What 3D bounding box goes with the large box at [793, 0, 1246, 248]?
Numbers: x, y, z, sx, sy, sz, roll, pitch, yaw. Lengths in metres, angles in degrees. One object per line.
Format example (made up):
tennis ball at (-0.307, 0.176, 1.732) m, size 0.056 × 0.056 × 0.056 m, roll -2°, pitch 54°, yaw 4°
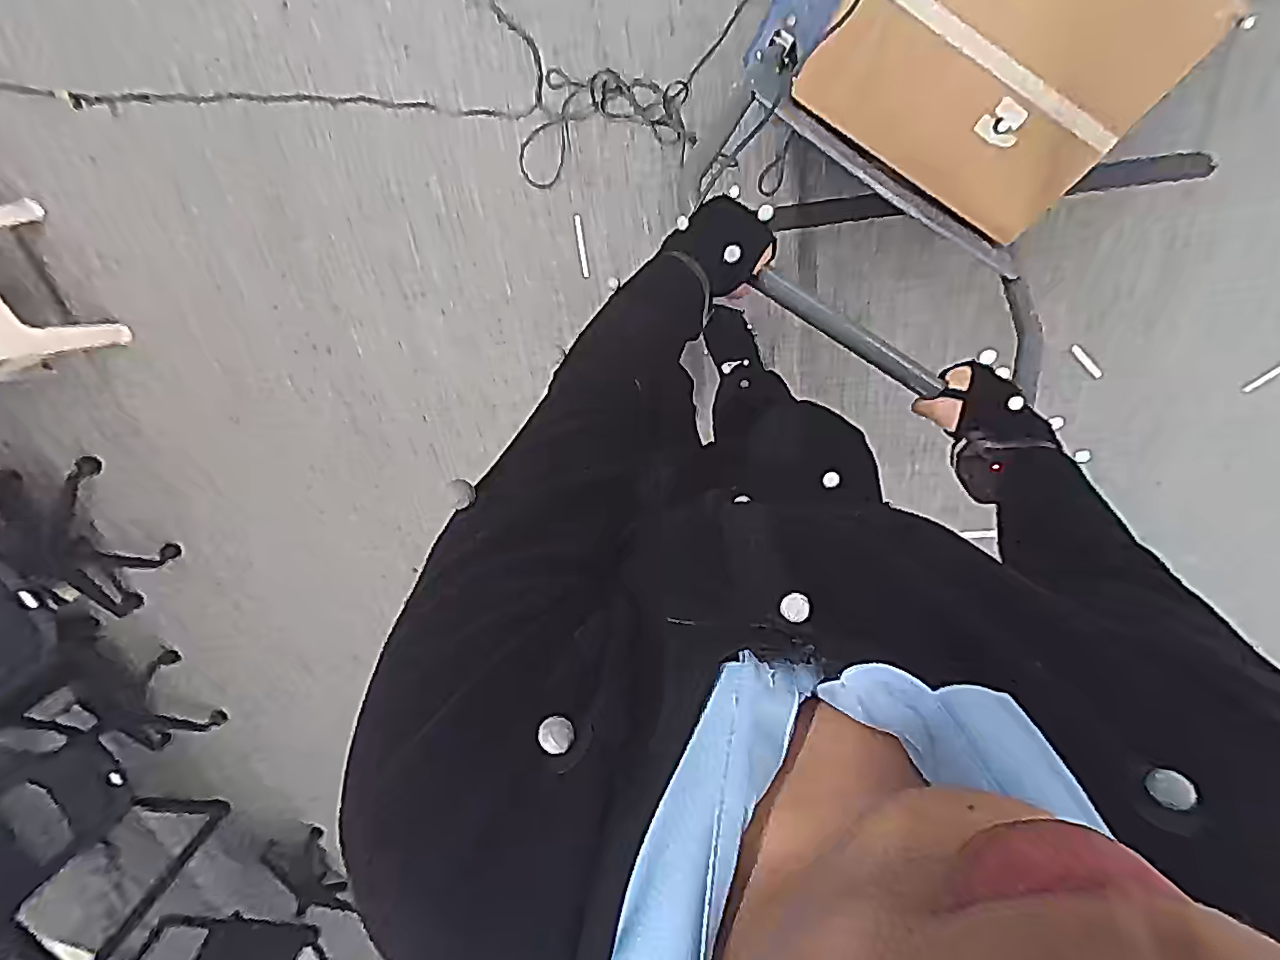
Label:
large box at (0.486, -0.629, 0.793) m, size 0.408 × 0.320 × 0.320 m, roll 29°, pitch 136°, yaw -8°
